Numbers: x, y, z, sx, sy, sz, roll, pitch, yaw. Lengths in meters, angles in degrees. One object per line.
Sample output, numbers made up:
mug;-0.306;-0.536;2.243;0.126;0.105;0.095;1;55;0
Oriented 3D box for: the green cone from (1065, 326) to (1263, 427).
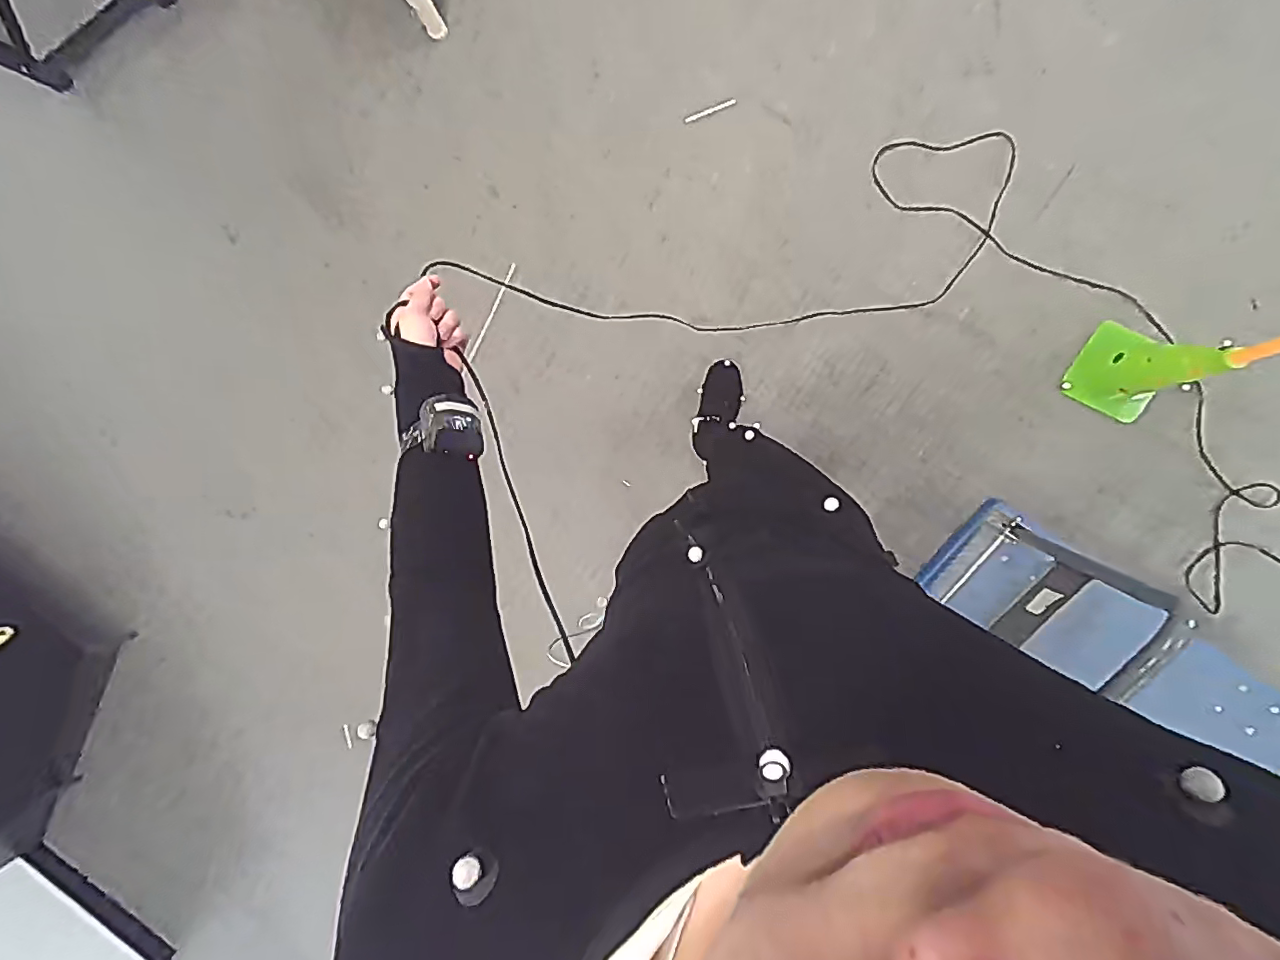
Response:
green cone;1.162;-0.237;1.170;0.200;0.368;0.202;29;101;7
